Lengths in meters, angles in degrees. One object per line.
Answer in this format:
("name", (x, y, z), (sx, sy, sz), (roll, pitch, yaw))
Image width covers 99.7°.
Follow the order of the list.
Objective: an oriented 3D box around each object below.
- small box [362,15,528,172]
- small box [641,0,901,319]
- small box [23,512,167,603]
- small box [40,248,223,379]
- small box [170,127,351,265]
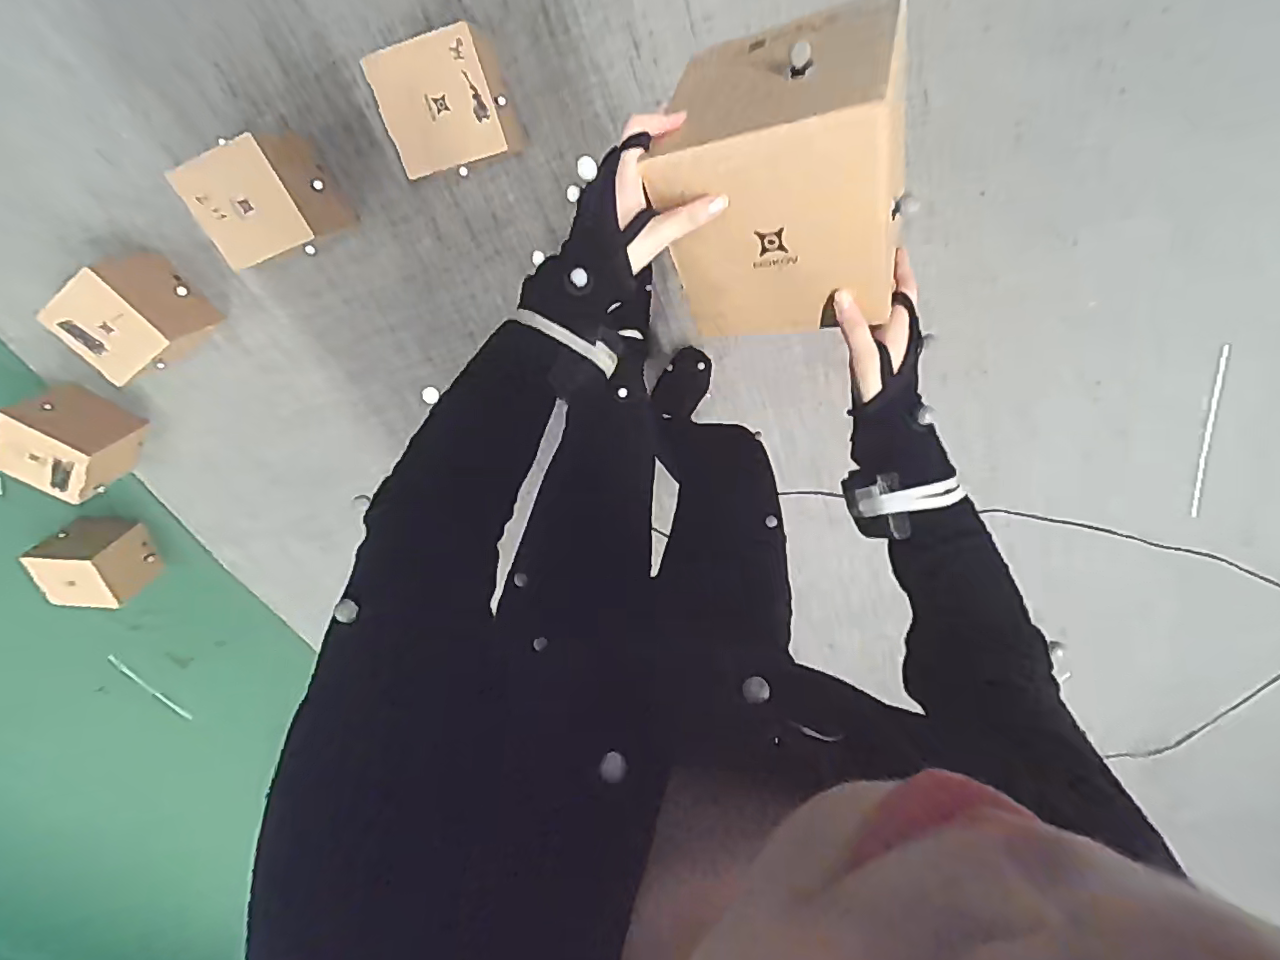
("small box", (-0.305, -0.621, 0.887), (0.179, 0.176, 0.168), (-11, 122, 9))
("small box", (0.122, -0.265, 0.453), (0.168, 0.176, 0.179), (3, 150, 27))
("small box", (-1.421, 0.200, 1.423), (0.179, 0.176, 0.168), (4, 122, -1))
("small box", (-0.994, -0.335, 1.077), (0.179, 0.176, 0.168), (-28, 118, 16))
("small box", (-0.653, -0.507, 0.964), (0.179, 0.176, 0.168), (-16, 120, 11))
